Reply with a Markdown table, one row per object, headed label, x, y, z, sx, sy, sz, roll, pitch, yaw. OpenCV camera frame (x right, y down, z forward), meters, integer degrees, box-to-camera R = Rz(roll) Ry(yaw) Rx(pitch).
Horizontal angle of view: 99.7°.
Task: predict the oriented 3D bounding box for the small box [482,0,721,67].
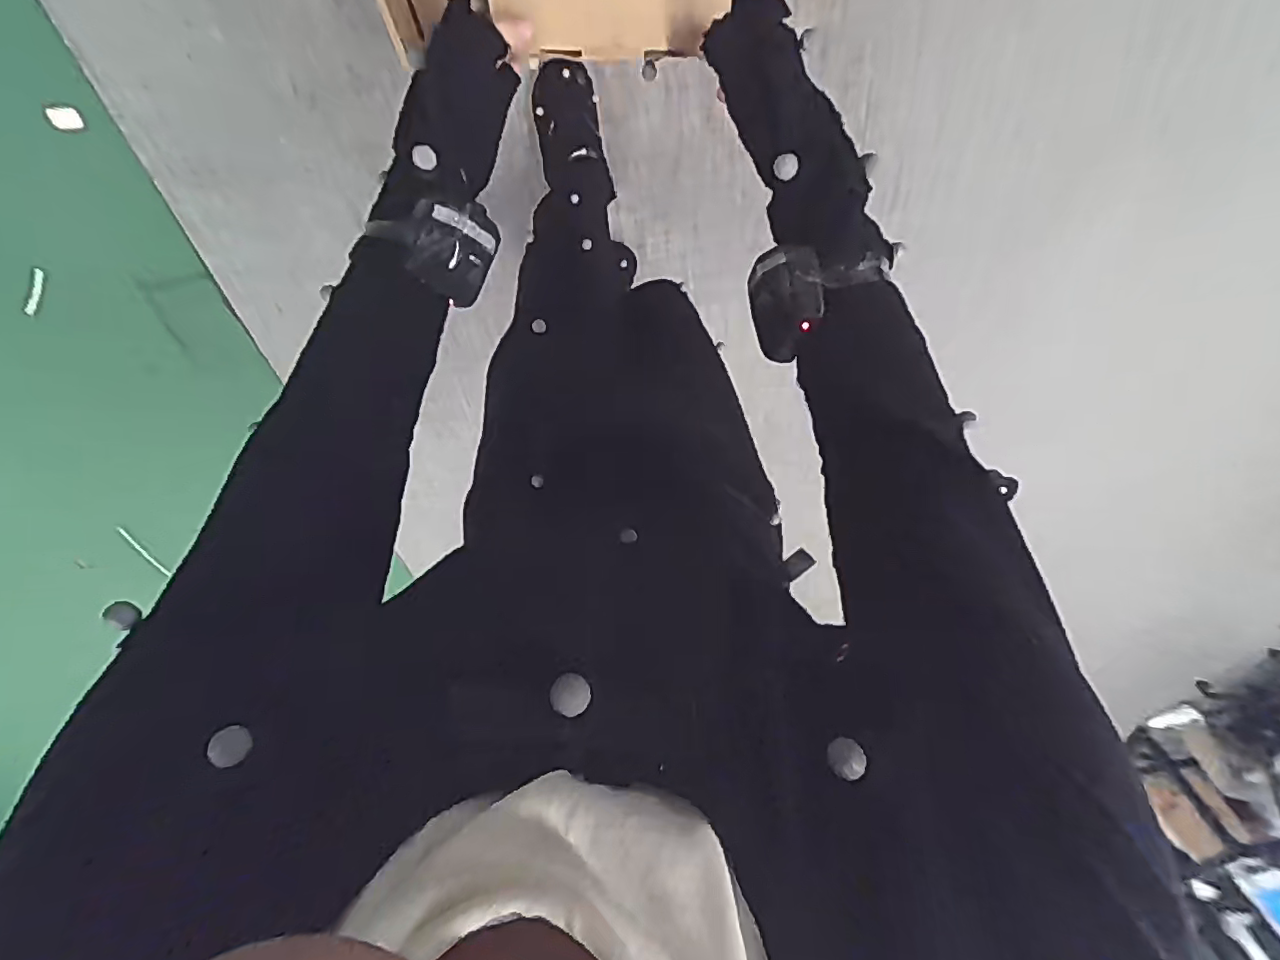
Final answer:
| label | x | y | z | sx | sy | sz | roll | pitch | yaw |
| --- | --- | --- | --- | --- | --- | --- | --- | --- | --- |
| small box | -0.031 | -0.417 | 0.398 | 0.168 | 0.176 | 0.179 | -3 | 126 | -6 |
